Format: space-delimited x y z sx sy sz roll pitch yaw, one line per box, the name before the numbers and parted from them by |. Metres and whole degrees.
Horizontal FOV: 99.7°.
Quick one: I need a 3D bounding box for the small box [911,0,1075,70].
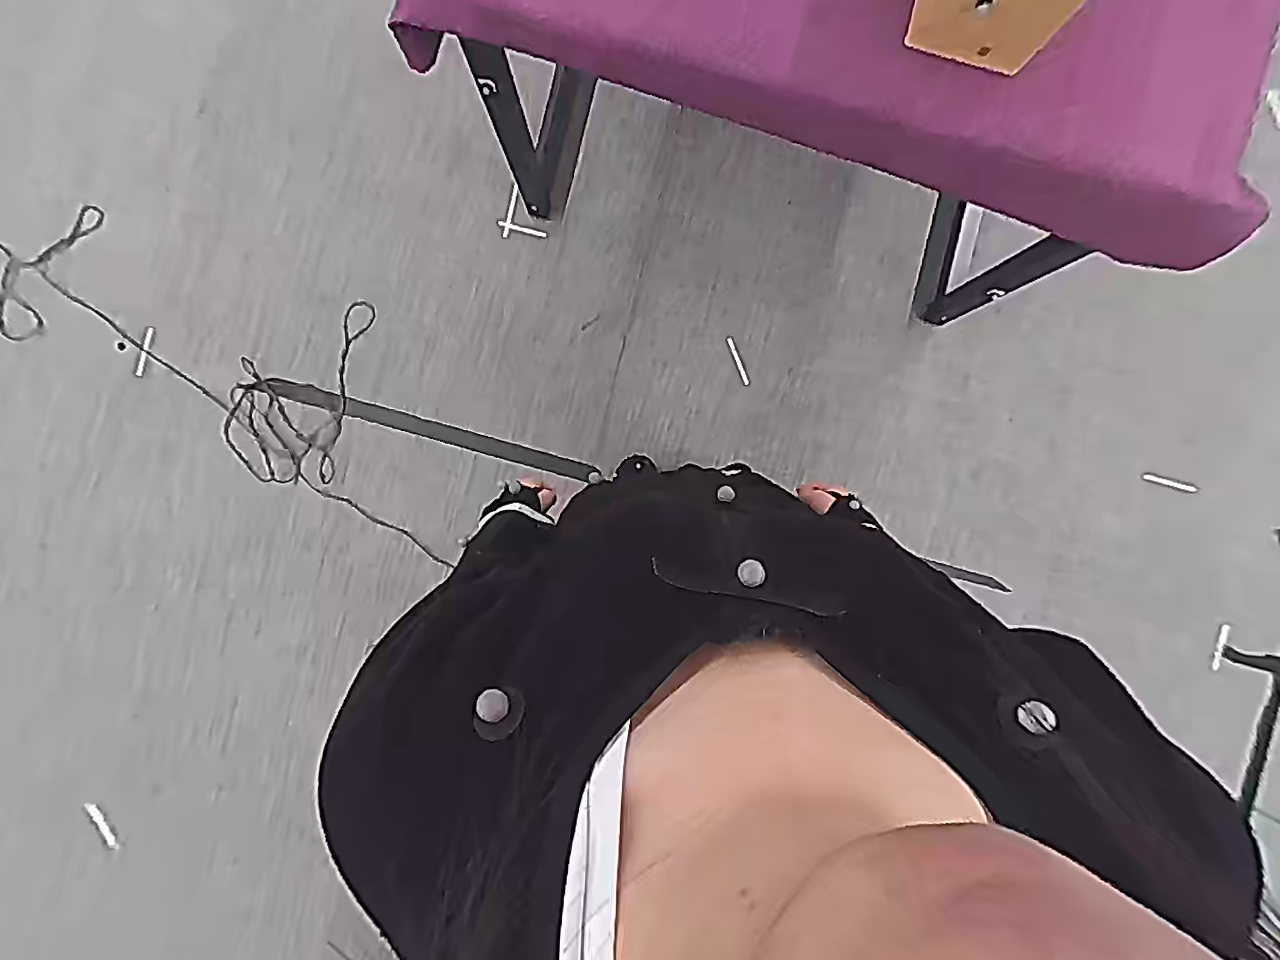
small box | 0.480 -0.682 0.694 0.168 0.176 0.179 15 90 -1
